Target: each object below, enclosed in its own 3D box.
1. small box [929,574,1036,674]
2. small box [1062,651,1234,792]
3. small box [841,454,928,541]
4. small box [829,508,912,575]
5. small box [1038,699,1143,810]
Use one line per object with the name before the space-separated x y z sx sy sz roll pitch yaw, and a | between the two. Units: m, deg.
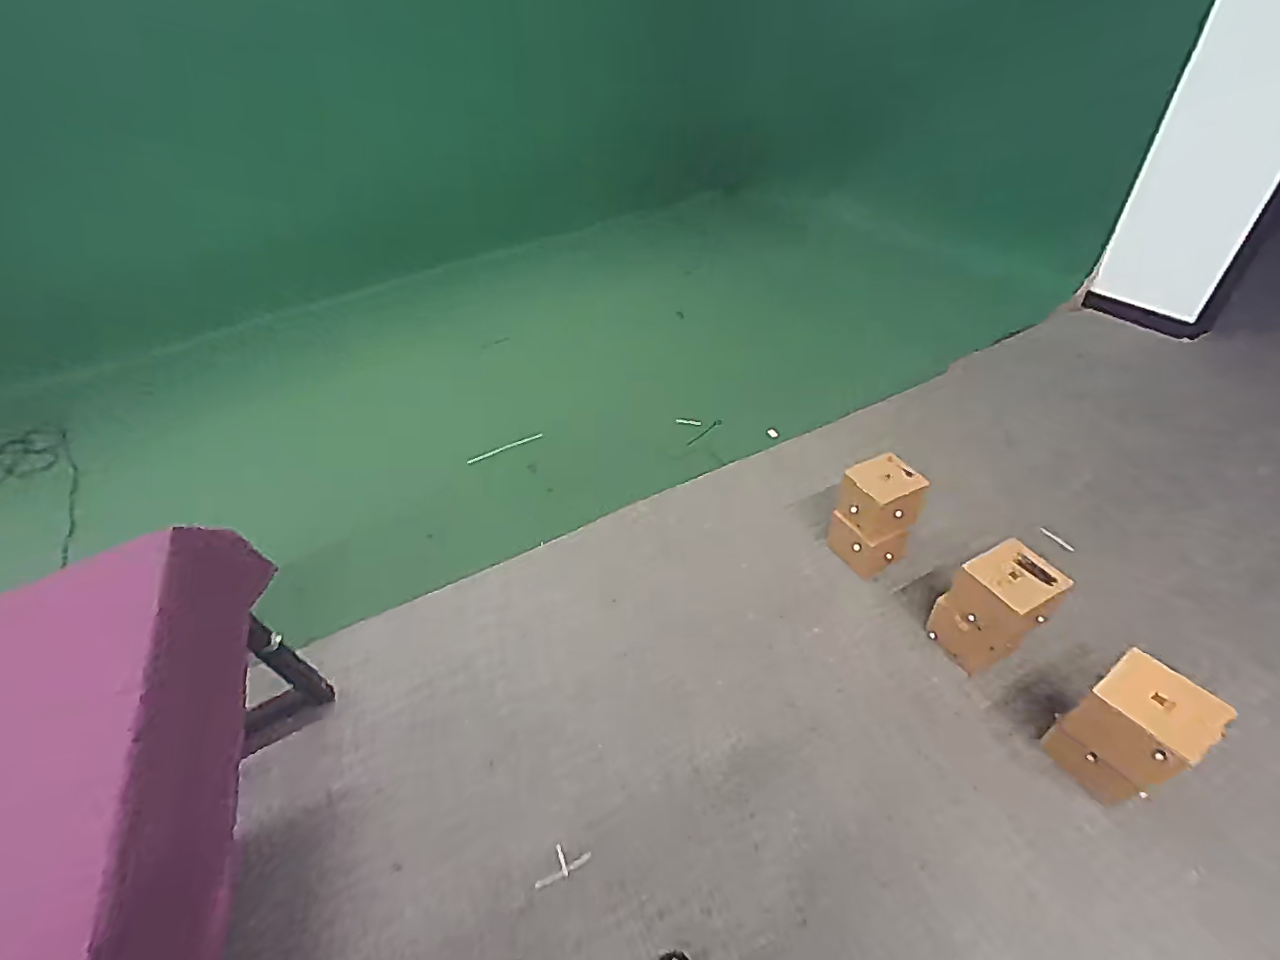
small box | 0.922 0.396 1.477 0.179 0.176 0.168 -23 44 -14
small box | 1.027 0.497 1.111 0.168 0.176 0.179 -29 46 -18
small box | 0.729 0.055 1.636 0.179 0.176 0.168 -21 44 -11
small box | 0.735 0.182 1.742 0.168 0.176 0.179 -23 44 -14
small box | 1.061 0.605 1.228 0.168 0.176 0.179 -26 45 -14
